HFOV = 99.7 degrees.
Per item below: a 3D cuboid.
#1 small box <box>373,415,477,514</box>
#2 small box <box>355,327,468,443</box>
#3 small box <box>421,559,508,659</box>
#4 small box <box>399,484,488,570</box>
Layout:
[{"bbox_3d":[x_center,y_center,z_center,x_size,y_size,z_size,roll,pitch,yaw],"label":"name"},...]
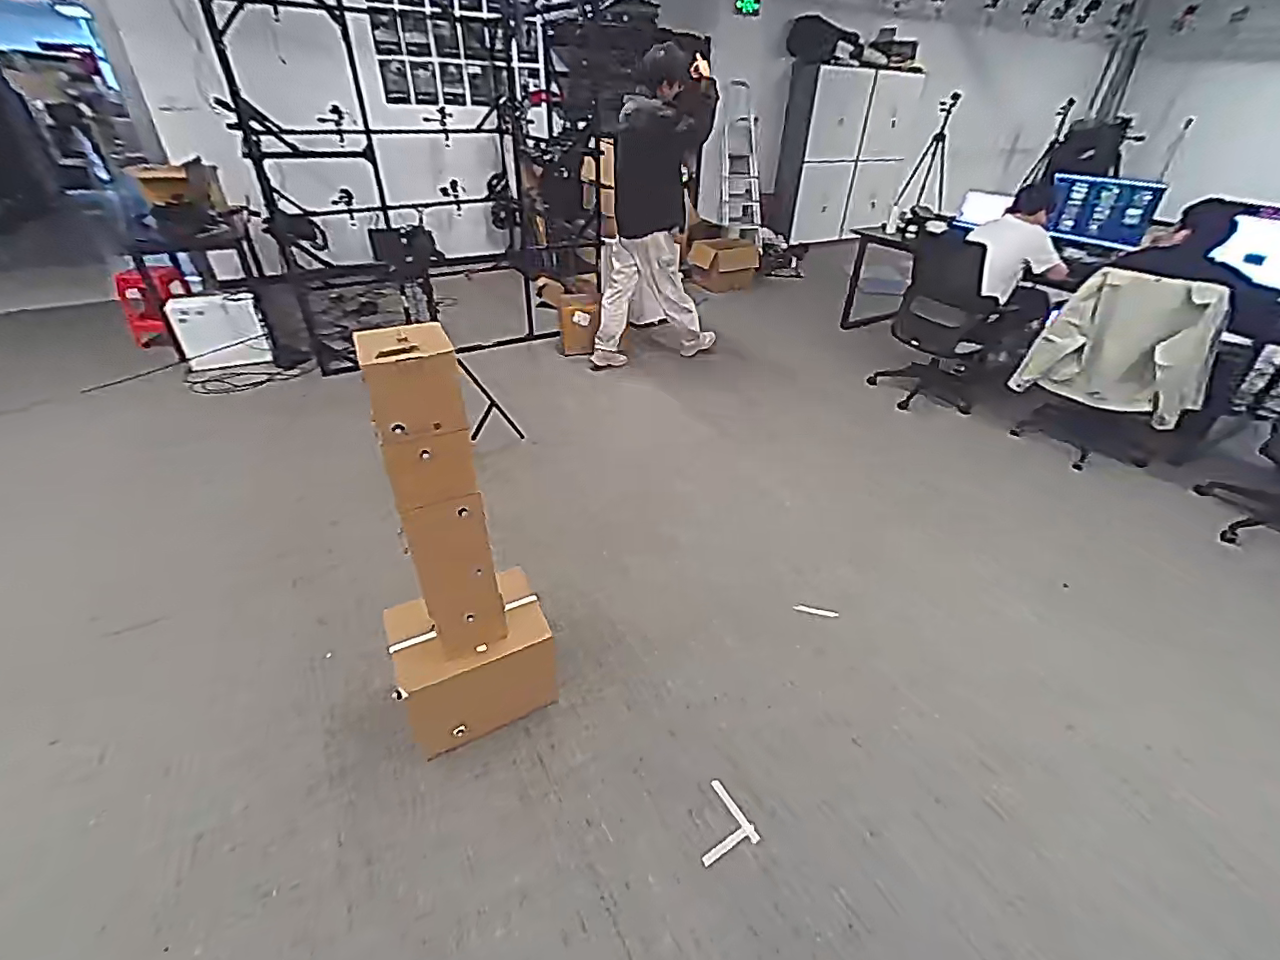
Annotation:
[{"bbox_3d":[-0.462,-0.052,1.178,0.179,0.176,0.168,-16,40,-22],"label":"small box"},{"bbox_3d":[-0.456,-0.187,1.085,0.168,0.176,0.179,-16,39,-23],"label":"small box"},{"bbox_3d":[-0.470,0.350,1.460,0.179,0.176,0.168,-17,40,-26],"label":"small box"},{"bbox_3d":[-0.465,0.081,1.271,0.179,0.176,0.168,-16,39,-23],"label":"small box"}]
